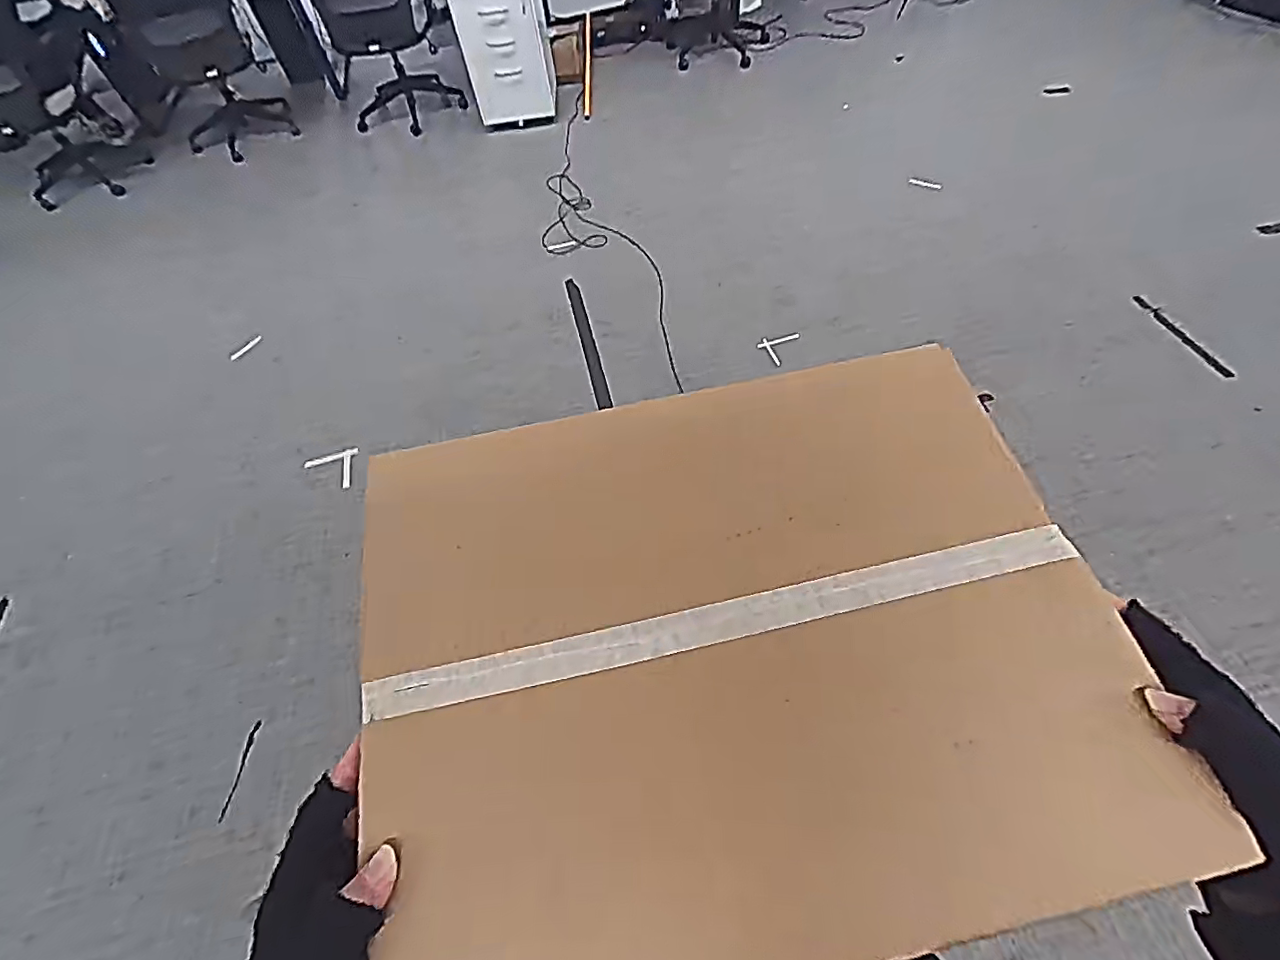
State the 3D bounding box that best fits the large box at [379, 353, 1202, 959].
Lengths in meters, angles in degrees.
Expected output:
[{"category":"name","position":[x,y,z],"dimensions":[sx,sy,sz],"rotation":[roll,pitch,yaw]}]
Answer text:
[{"category":"large box","position":[0.057,0.148,0.446],"dimensions":[0.408,0.320,0.320],"rotation":[-12,62,-3]}]
